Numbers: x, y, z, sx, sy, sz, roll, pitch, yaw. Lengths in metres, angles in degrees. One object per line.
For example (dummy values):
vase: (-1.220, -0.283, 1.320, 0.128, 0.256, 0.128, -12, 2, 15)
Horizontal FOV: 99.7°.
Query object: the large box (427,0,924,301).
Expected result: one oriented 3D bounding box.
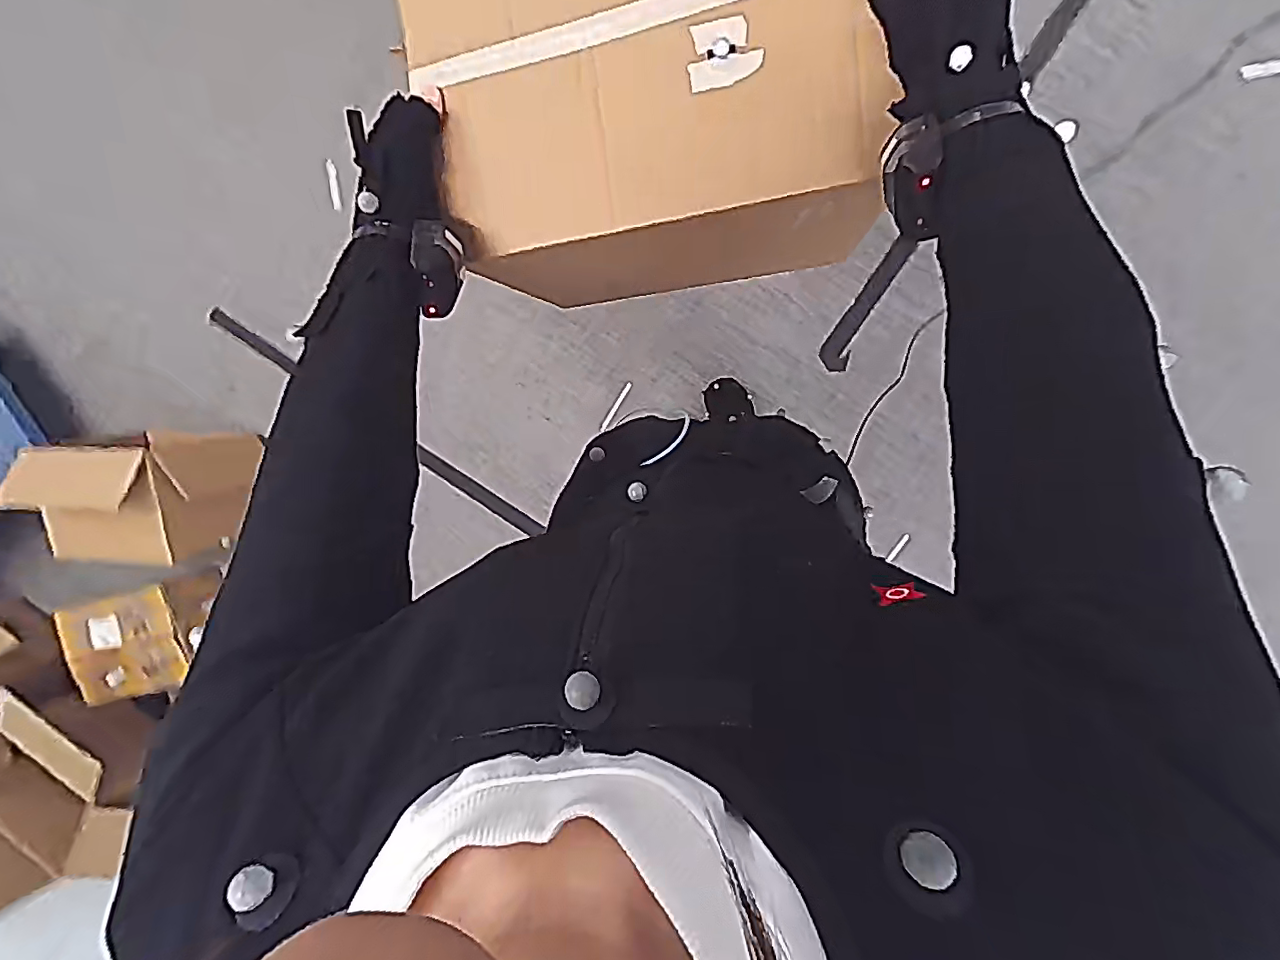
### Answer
large box: (0.039, -0.405, 0.589, 0.408, 0.320, 0.320, -5, 99, 12)
